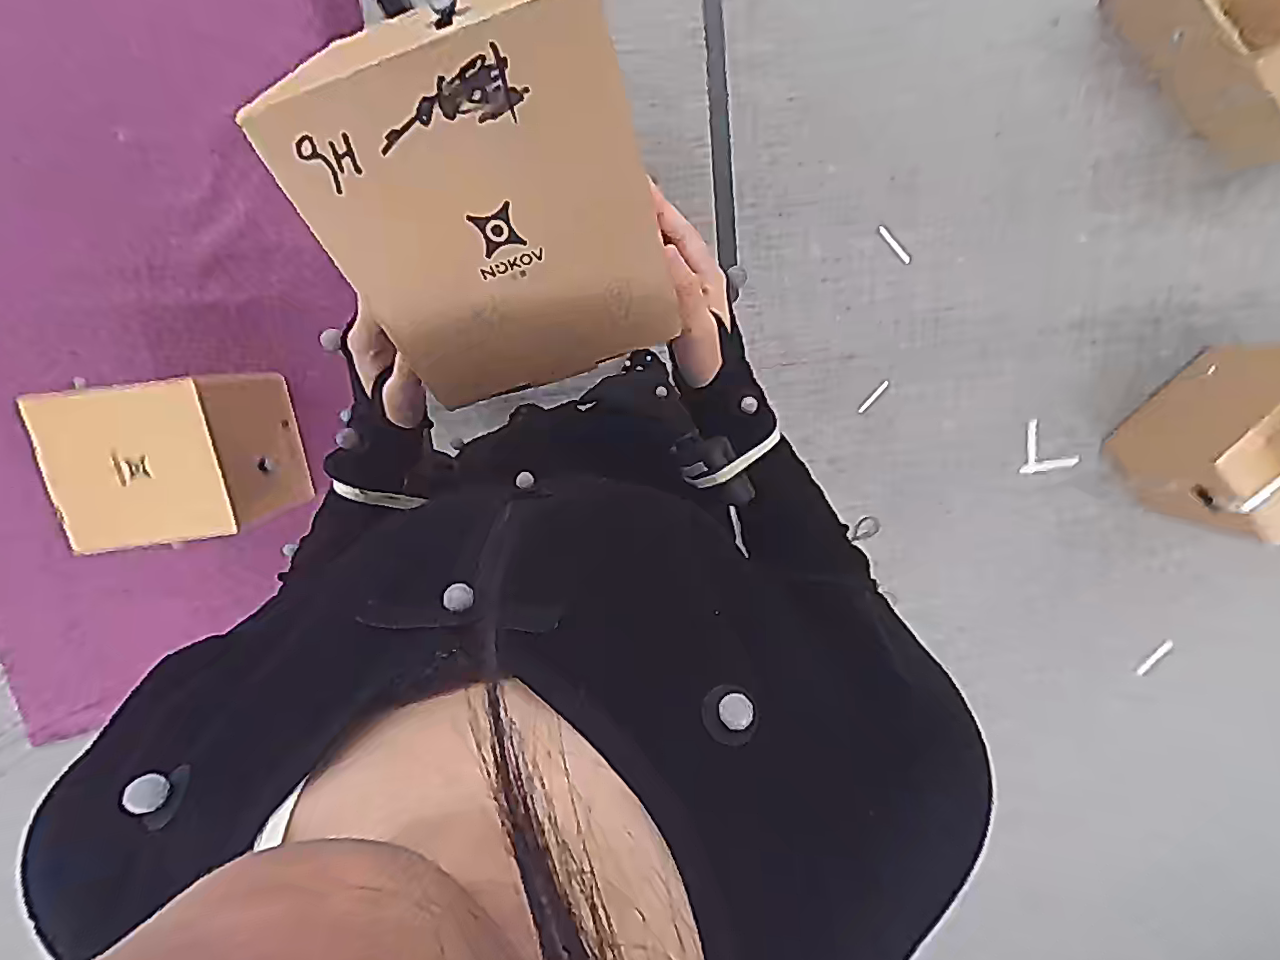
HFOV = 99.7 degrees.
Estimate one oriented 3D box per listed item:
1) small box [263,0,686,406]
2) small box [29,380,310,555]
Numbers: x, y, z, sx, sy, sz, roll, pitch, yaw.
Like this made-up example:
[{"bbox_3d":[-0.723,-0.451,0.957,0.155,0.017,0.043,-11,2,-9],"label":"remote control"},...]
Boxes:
[{"bbox_3d":[-0.078,-0.182,0.343,0.168,0.176,0.179,-16,137,5],"label":"small box"},{"bbox_3d":[-0.529,-0.026,0.646,0.179,0.176,0.168,-8,103,-1],"label":"small box"}]
